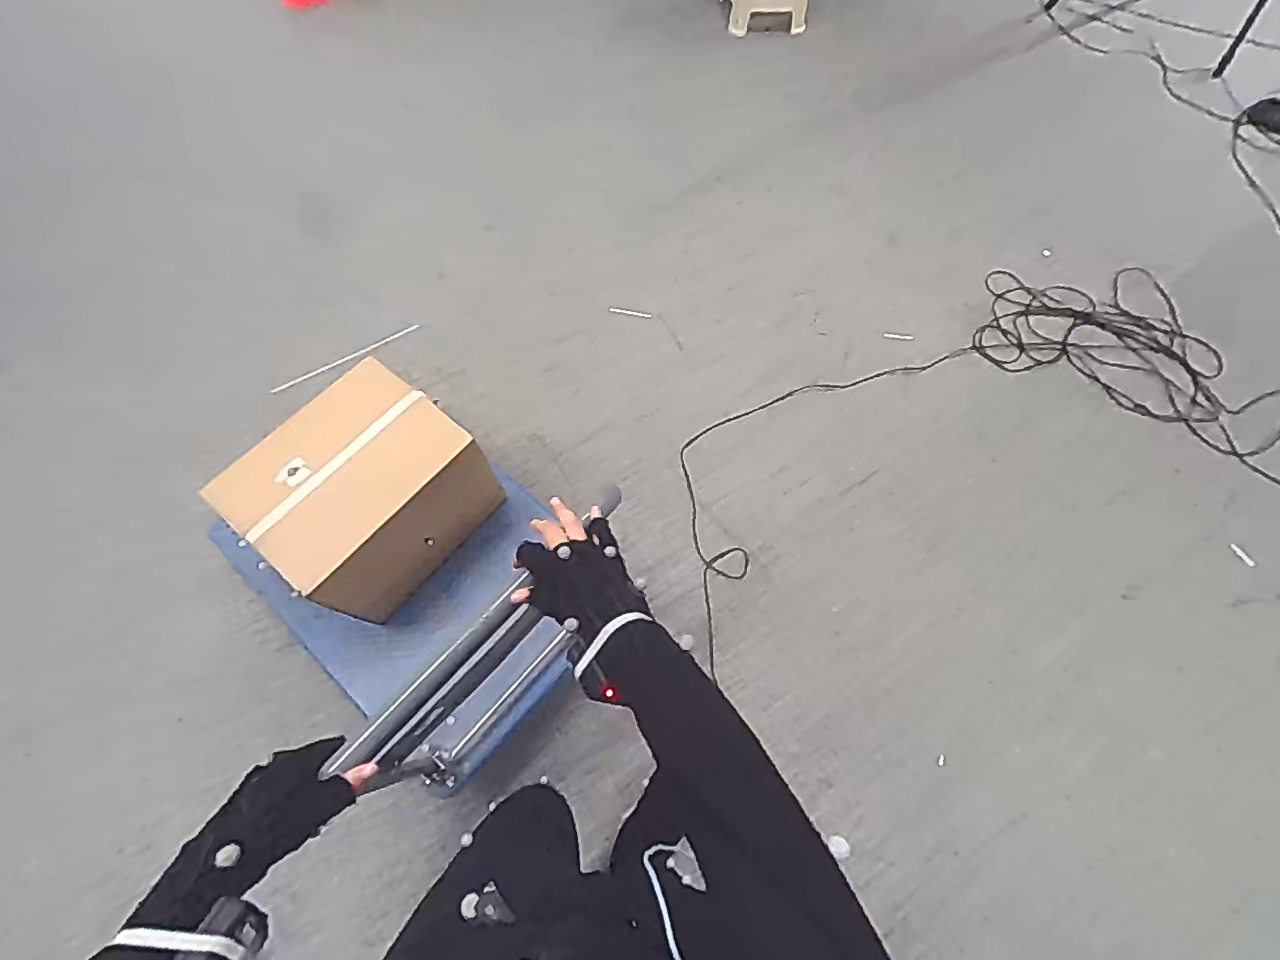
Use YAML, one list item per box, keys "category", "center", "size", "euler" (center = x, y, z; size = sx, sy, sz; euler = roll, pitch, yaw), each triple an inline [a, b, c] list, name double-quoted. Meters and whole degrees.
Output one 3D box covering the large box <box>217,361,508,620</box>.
- category: "large box"
  center: [-0.557, 0.034, 1.174]
  size: [0.320, 0.320, 0.408]
  euler: [36, 72, 15]
